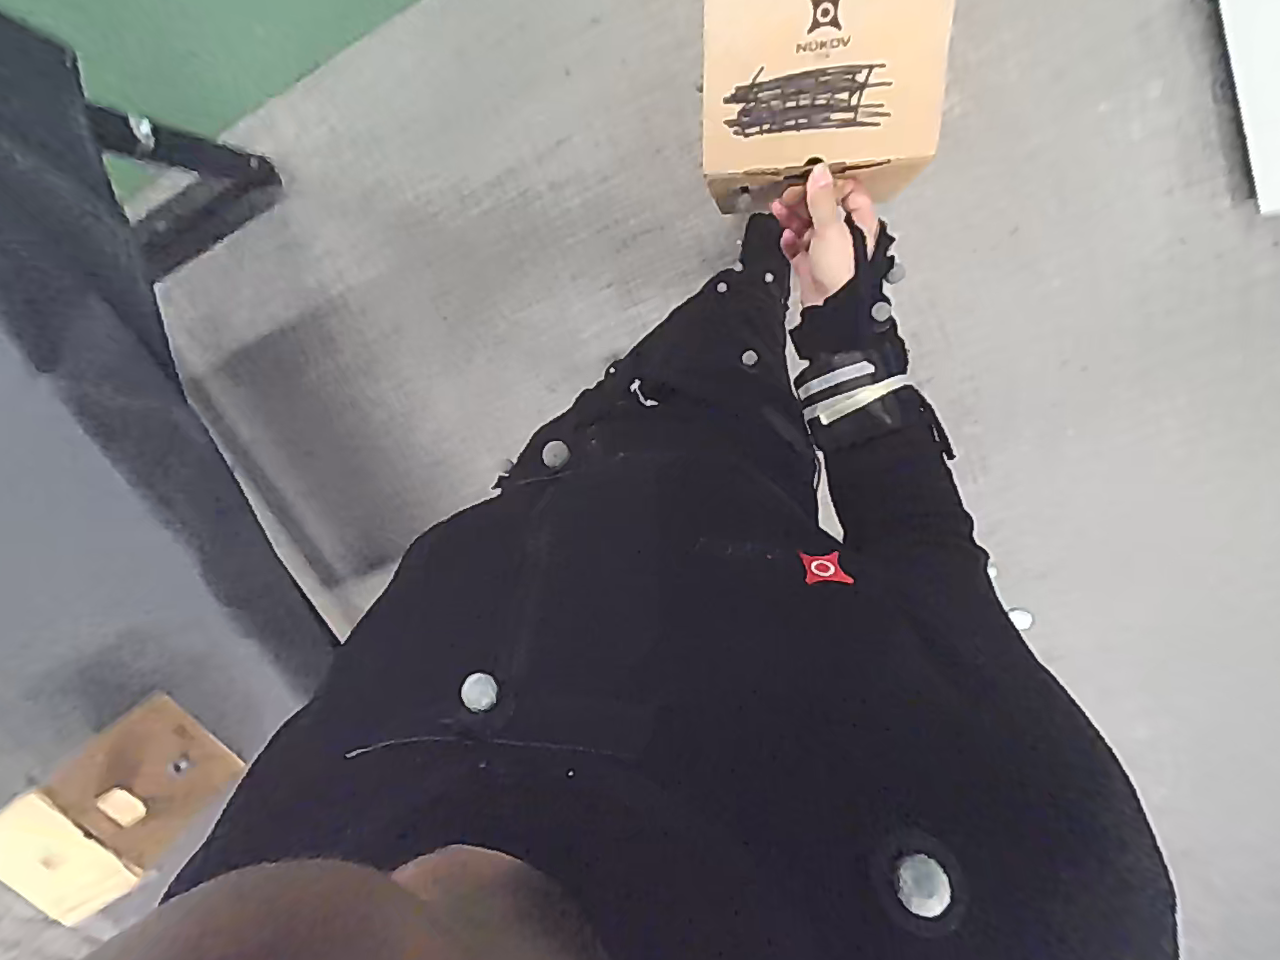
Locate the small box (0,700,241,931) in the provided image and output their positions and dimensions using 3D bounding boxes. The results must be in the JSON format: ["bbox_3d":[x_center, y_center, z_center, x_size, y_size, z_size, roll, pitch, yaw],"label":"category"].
[{"bbox_3d":[-0.697,0.438,0.724,0.179,0.176,0.168,-35,102,14],"label":"small box"}]
